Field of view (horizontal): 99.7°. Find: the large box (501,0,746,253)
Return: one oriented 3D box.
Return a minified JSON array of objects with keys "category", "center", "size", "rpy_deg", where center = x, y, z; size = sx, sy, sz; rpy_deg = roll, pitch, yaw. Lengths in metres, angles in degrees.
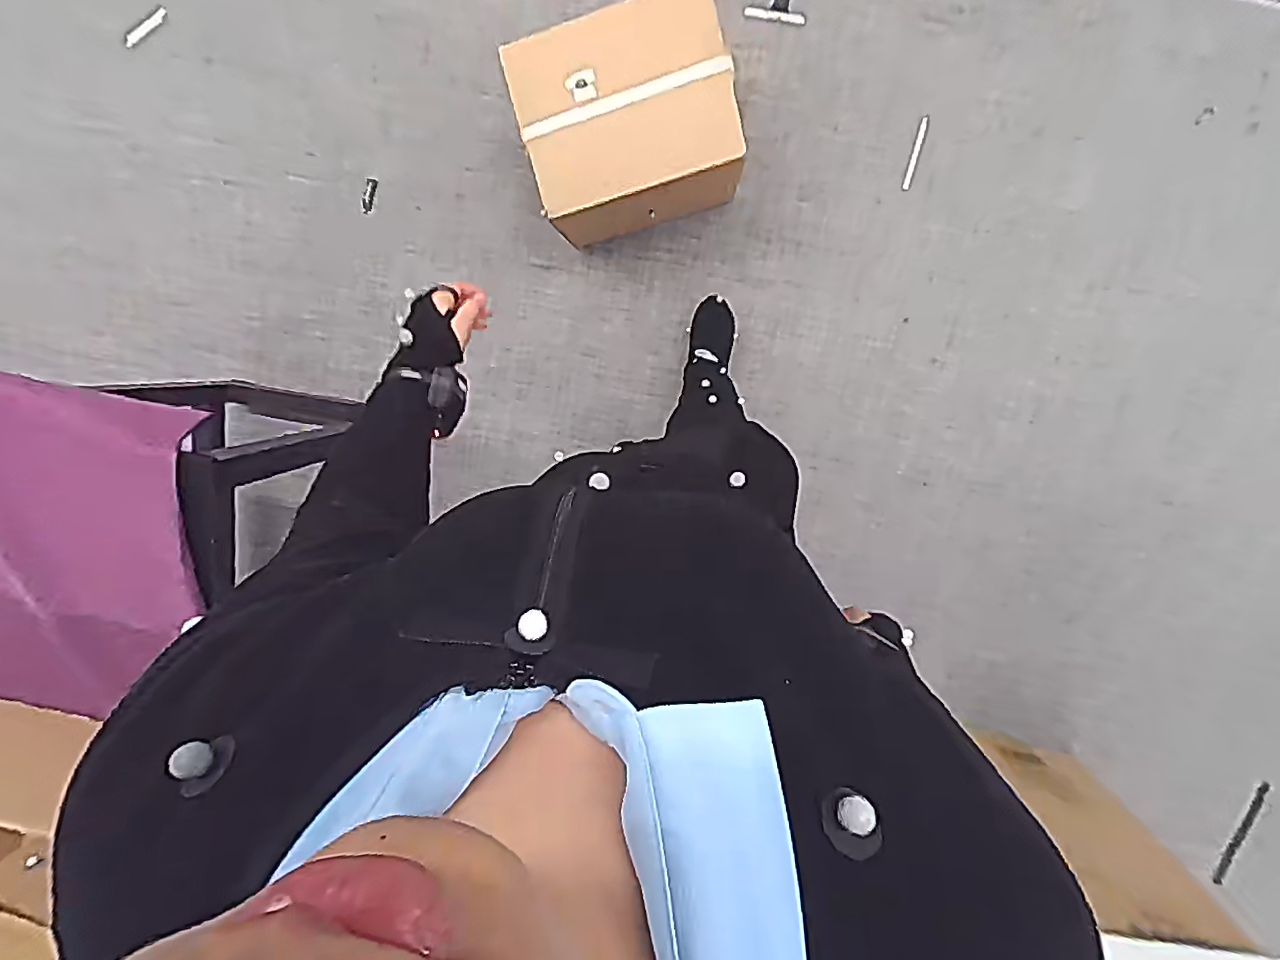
[{"category":"large box","center":[-0.017,-0.726,1.156],"size":[0.408,0.320,0.320],"rpy_deg":[-15,100,8]}]

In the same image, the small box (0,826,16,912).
[{"category":"small box","center":[-1.108,0.622,0.806],"size":[0.168,0.176,0.179],"rpy_deg":[8,102,2]}]
